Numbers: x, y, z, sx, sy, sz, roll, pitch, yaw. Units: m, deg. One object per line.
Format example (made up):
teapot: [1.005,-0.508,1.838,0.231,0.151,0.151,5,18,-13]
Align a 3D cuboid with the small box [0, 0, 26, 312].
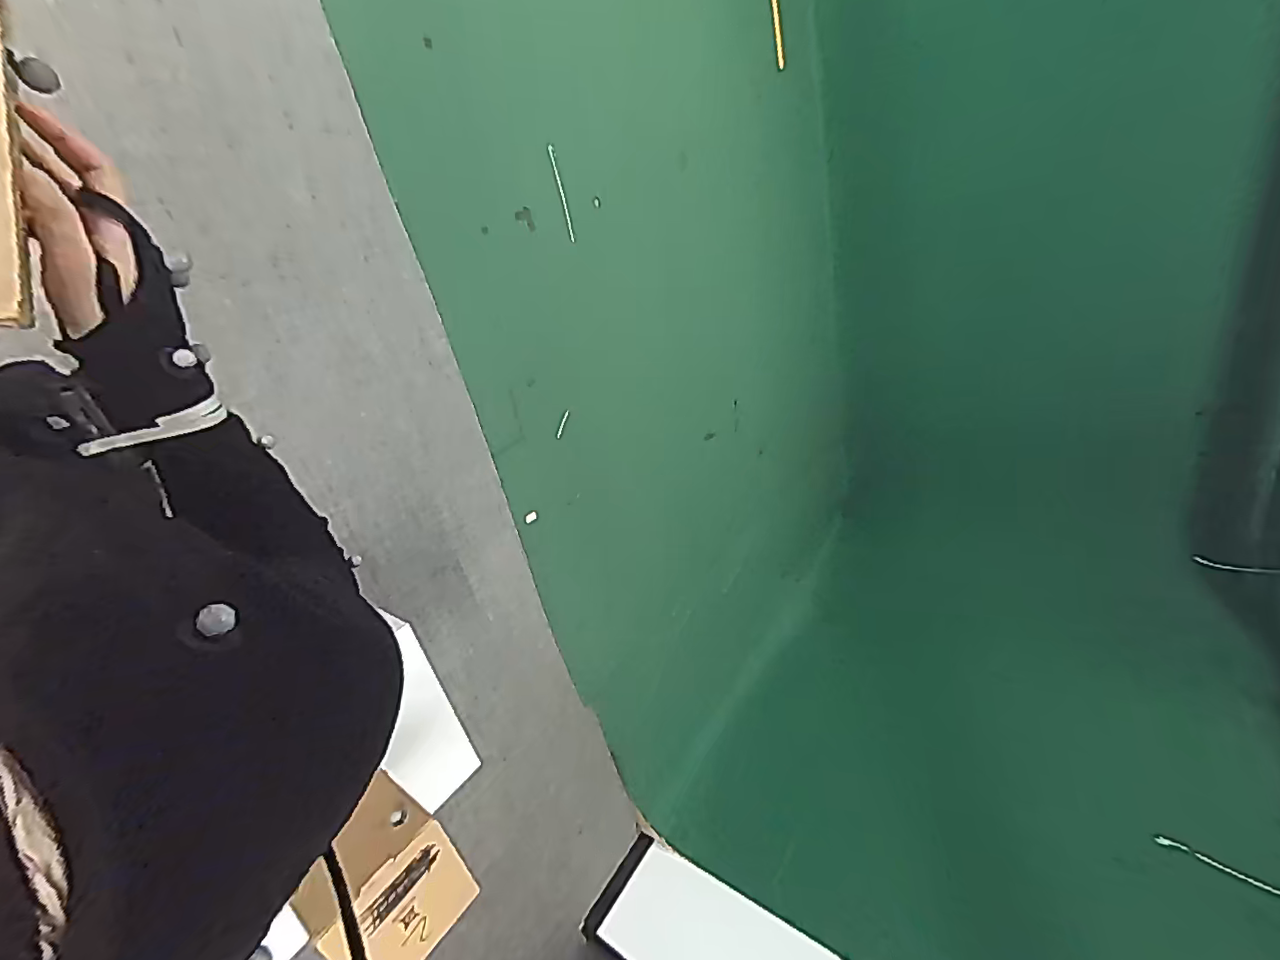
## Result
small box: [-0.402,-0.181,0.241,0.168,0.176,0.179,-3,103,-47]

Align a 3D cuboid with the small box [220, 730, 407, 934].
small box: [-0.505,0.531,0.842,0.168,0.176,0.179,-36,124,-43]
